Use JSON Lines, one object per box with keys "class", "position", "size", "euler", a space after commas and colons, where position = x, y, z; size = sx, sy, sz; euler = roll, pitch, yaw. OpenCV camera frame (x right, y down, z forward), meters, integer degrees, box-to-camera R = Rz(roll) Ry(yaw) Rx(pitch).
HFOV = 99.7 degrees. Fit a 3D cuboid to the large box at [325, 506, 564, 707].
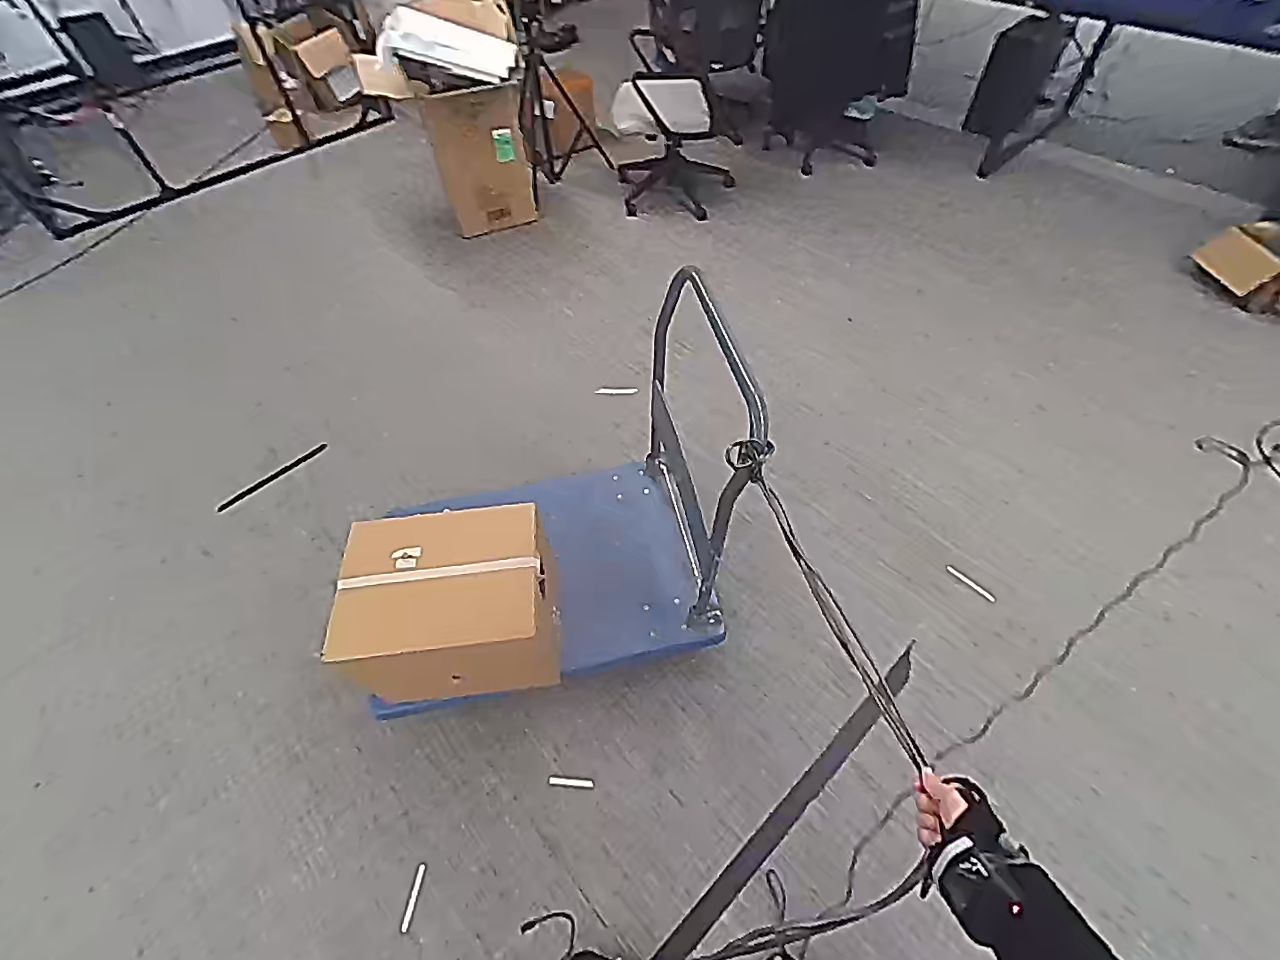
{"class": "large box", "position": [-0.400, 0.292, 1.217], "size": [0.408, 0.320, 0.320], "euler": [-7, 53, -1]}
